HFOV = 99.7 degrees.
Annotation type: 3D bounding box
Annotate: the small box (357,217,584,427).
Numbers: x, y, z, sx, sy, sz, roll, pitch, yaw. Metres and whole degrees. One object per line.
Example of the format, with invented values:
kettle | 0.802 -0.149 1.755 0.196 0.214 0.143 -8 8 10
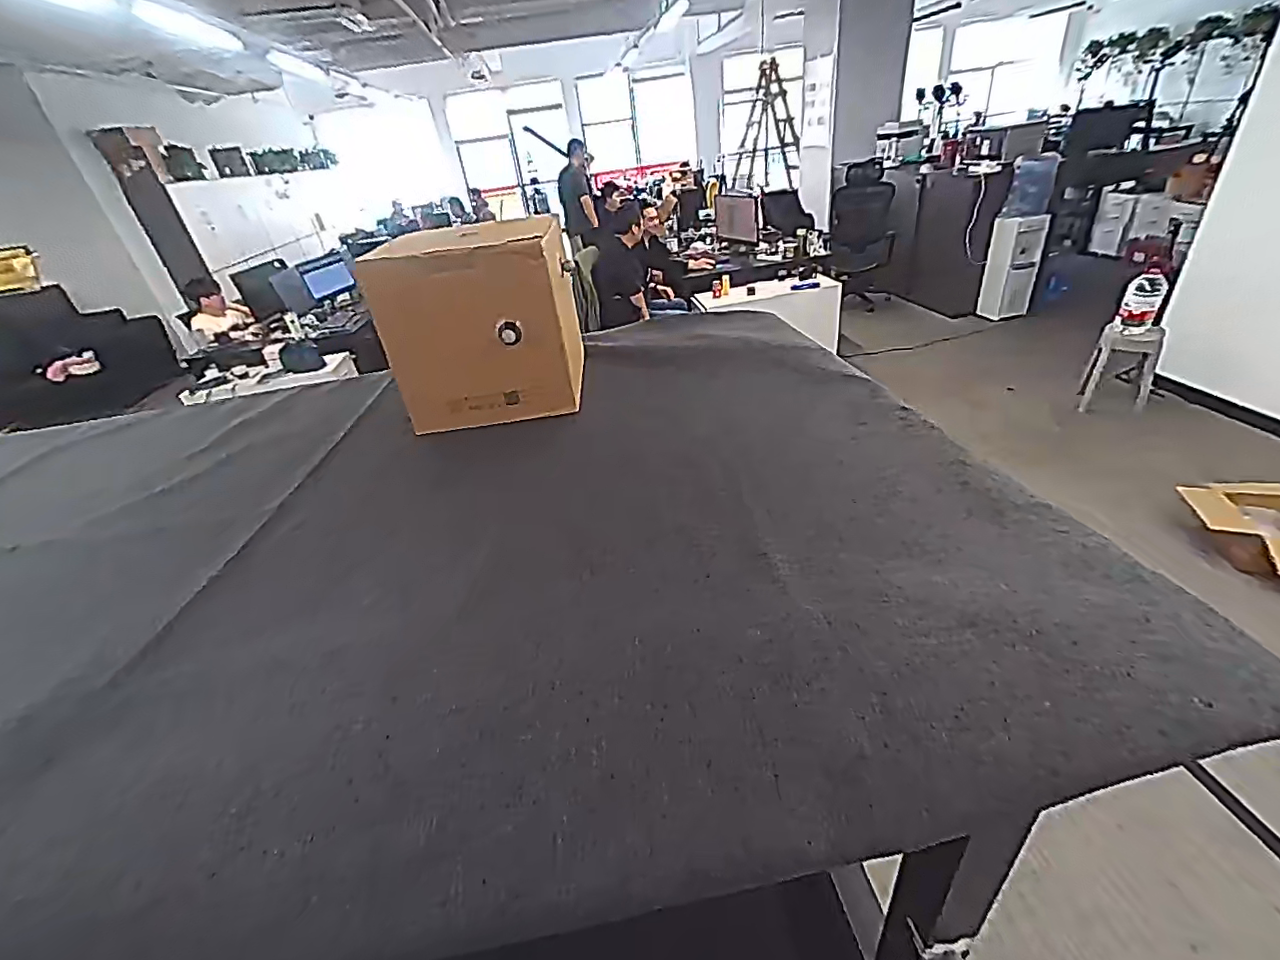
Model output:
small box | -0.154 -0.163 0.565 0.168 0.176 0.179 -7 32 0
